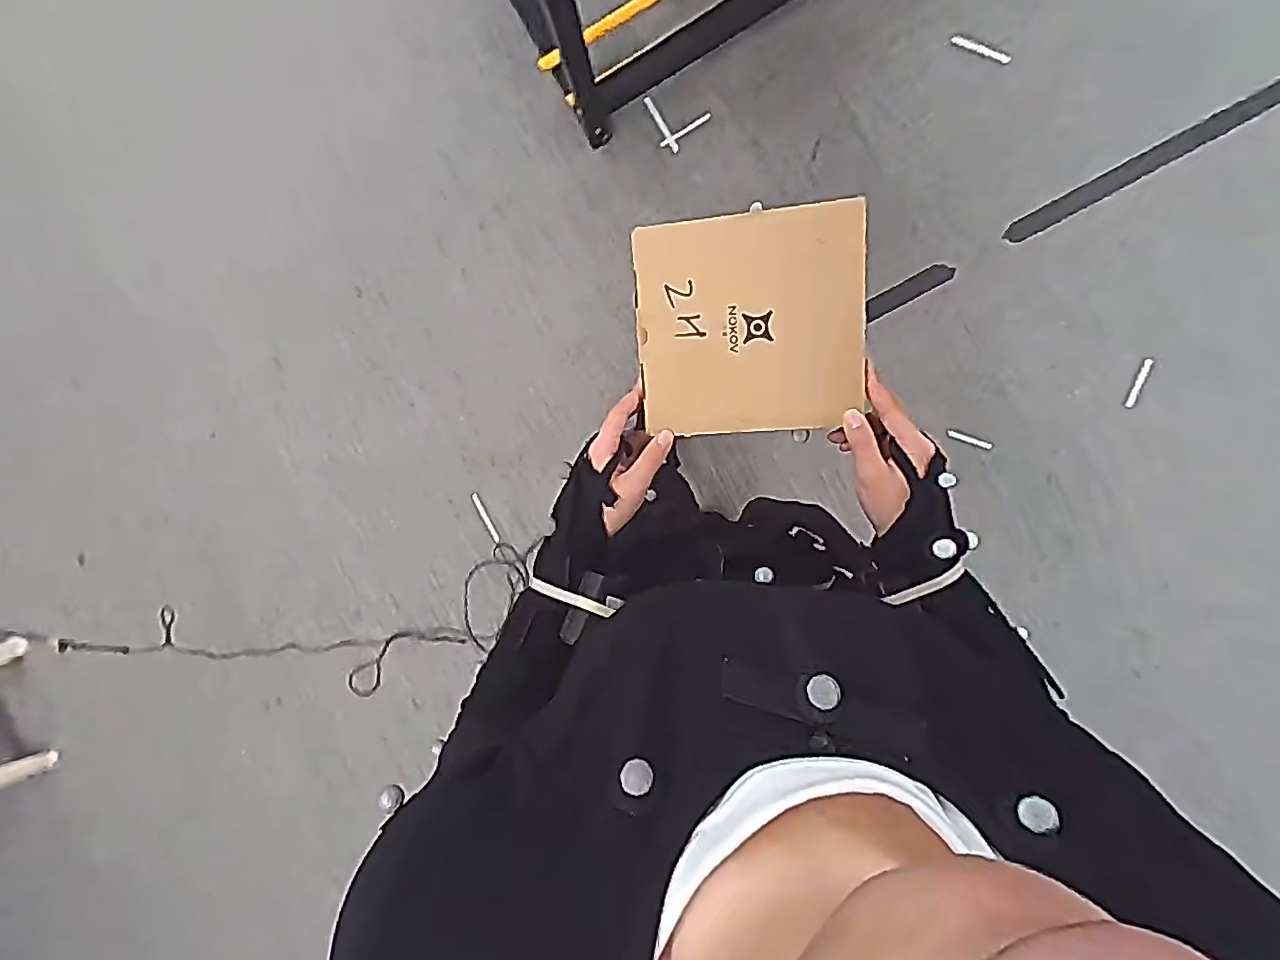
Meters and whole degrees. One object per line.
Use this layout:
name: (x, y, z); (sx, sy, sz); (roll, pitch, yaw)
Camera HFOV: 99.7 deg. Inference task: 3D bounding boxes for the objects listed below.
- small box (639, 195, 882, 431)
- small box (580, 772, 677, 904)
small box: (0.104, -0.137, 0.486); (0.179, 0.176, 0.168); (-1, 102, 13)
small box: (-0.019, 0.872, 1.333); (0.179, 0.176, 0.168); (-35, 90, 5)
